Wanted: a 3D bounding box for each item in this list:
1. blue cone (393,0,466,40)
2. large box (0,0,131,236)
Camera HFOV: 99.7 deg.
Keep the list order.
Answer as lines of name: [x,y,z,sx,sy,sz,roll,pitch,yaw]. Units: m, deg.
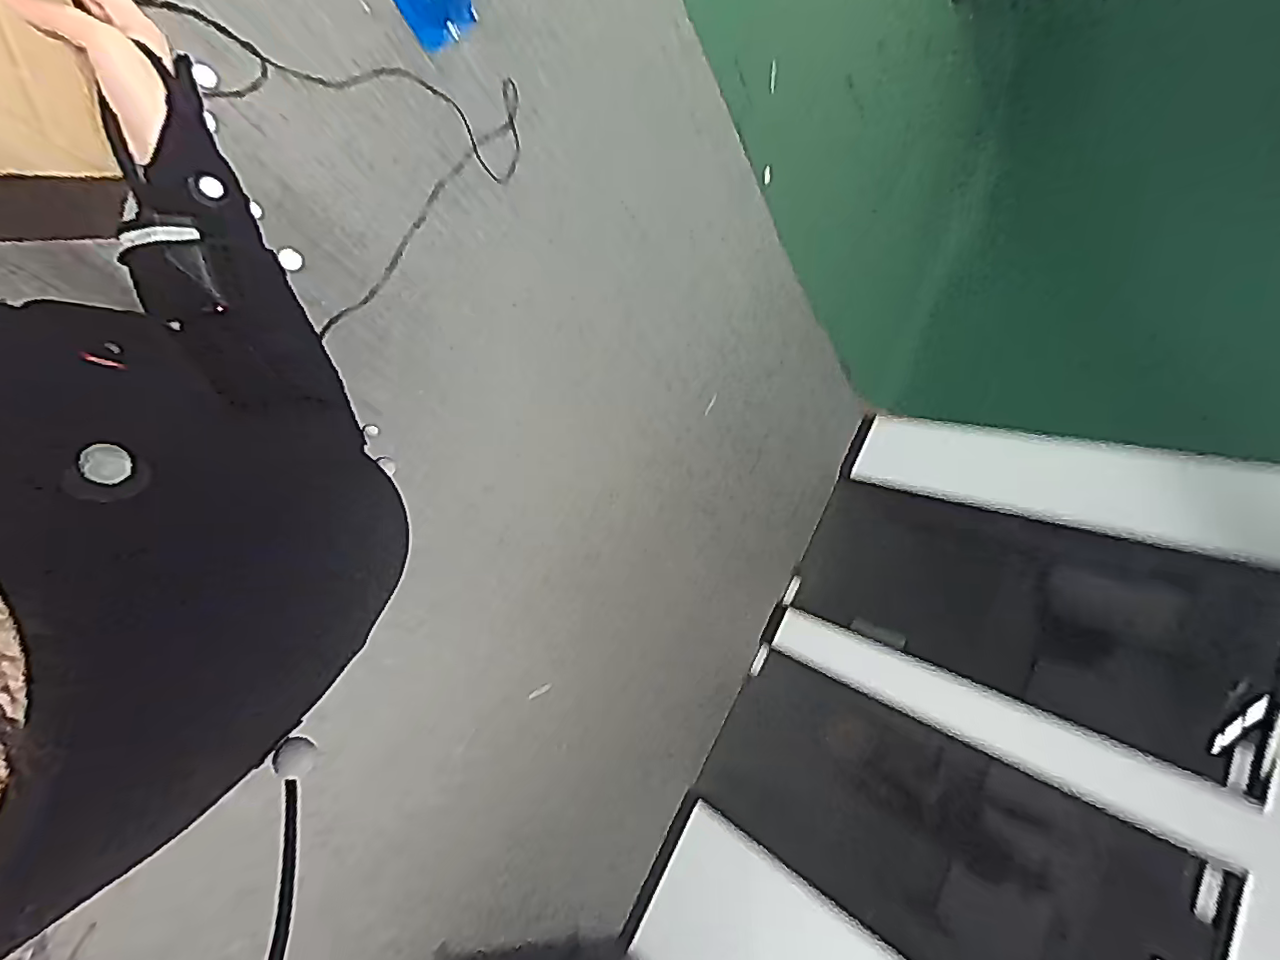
blue cone: [-0.423,-1.182,1.216,0.192,0.380,0.193,-54,134,-21]
large box: [-0.624,-0.322,0.308,0.408,0.320,0.320,-25,117,-41]
